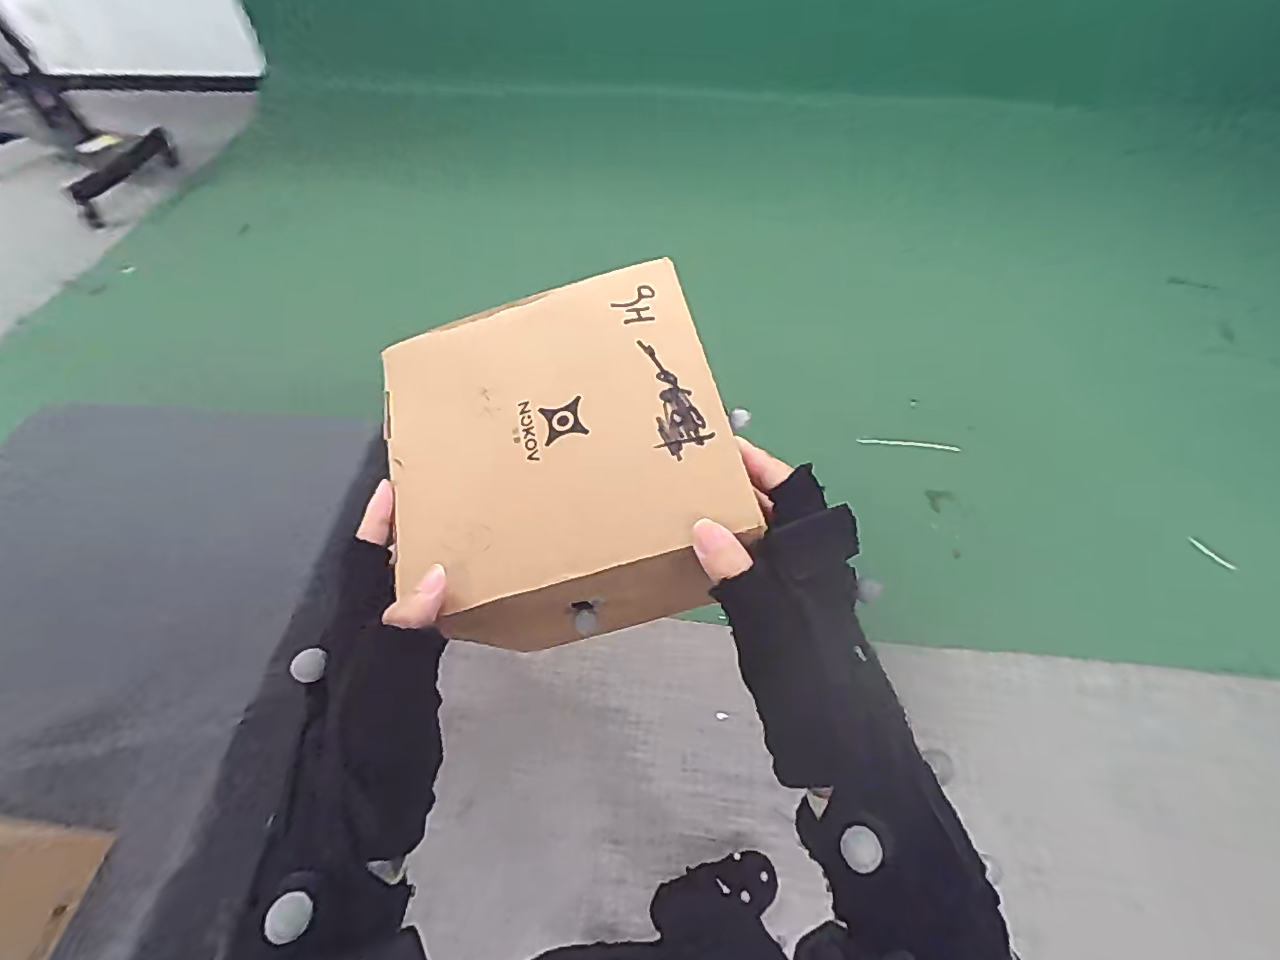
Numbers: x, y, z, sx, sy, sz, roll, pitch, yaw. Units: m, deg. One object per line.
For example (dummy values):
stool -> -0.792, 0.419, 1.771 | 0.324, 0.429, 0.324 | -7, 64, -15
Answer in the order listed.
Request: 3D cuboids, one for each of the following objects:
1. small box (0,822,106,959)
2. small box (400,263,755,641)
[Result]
small box -> -0.650, 0.397, 0.472 | 0.179, 0.176, 0.168 | 2, 56, 2
small box -> -0.031, -0.002, 0.363 | 0.179, 0.176, 0.168 | -18, 64, 2
